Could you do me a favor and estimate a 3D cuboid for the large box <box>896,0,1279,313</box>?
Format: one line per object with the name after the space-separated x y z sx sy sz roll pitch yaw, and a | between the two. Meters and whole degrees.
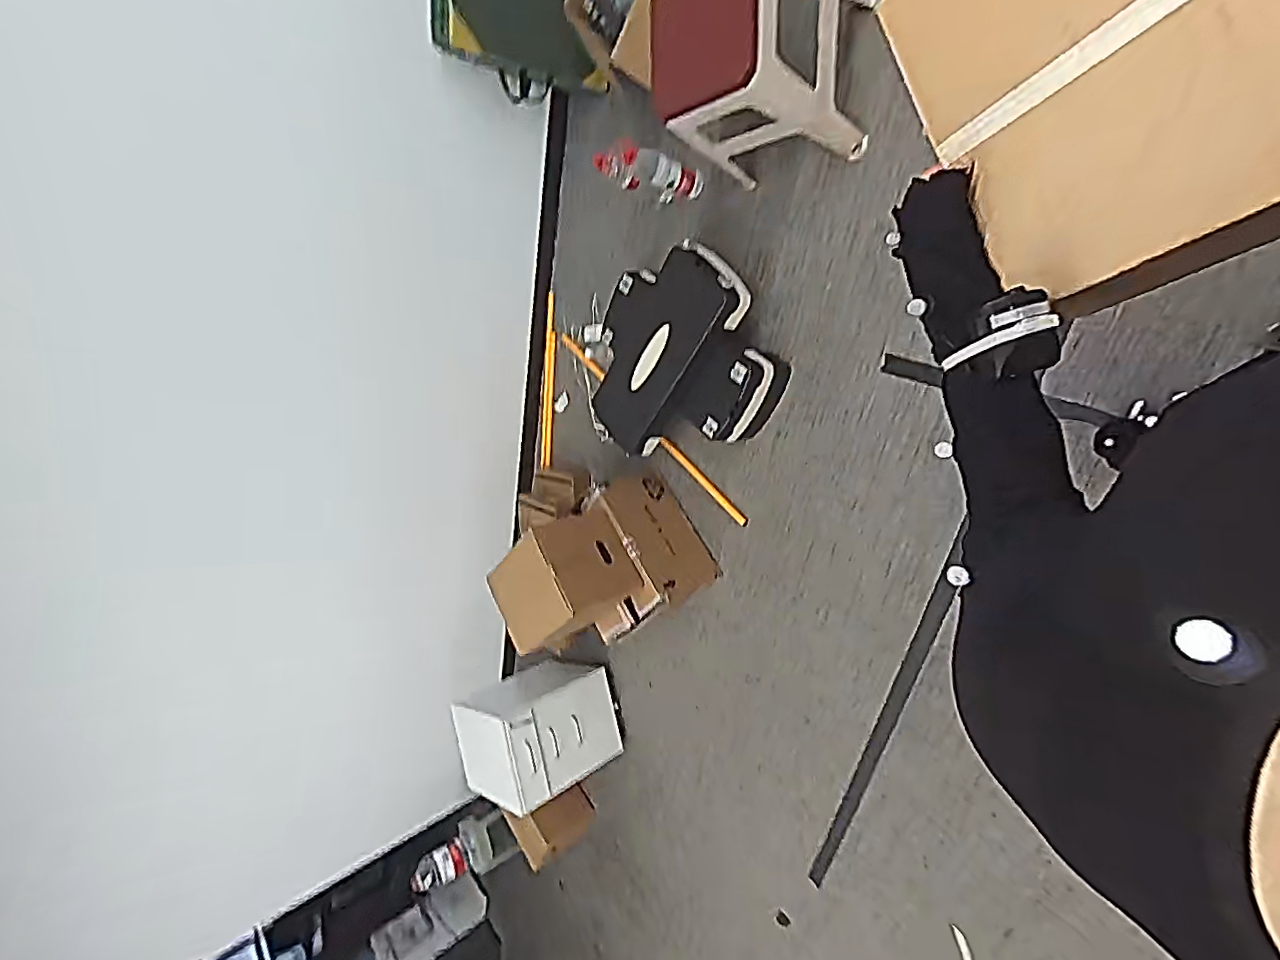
0.501 -0.370 0.424 0.408 0.320 0.320 -23 84 48 | large box
